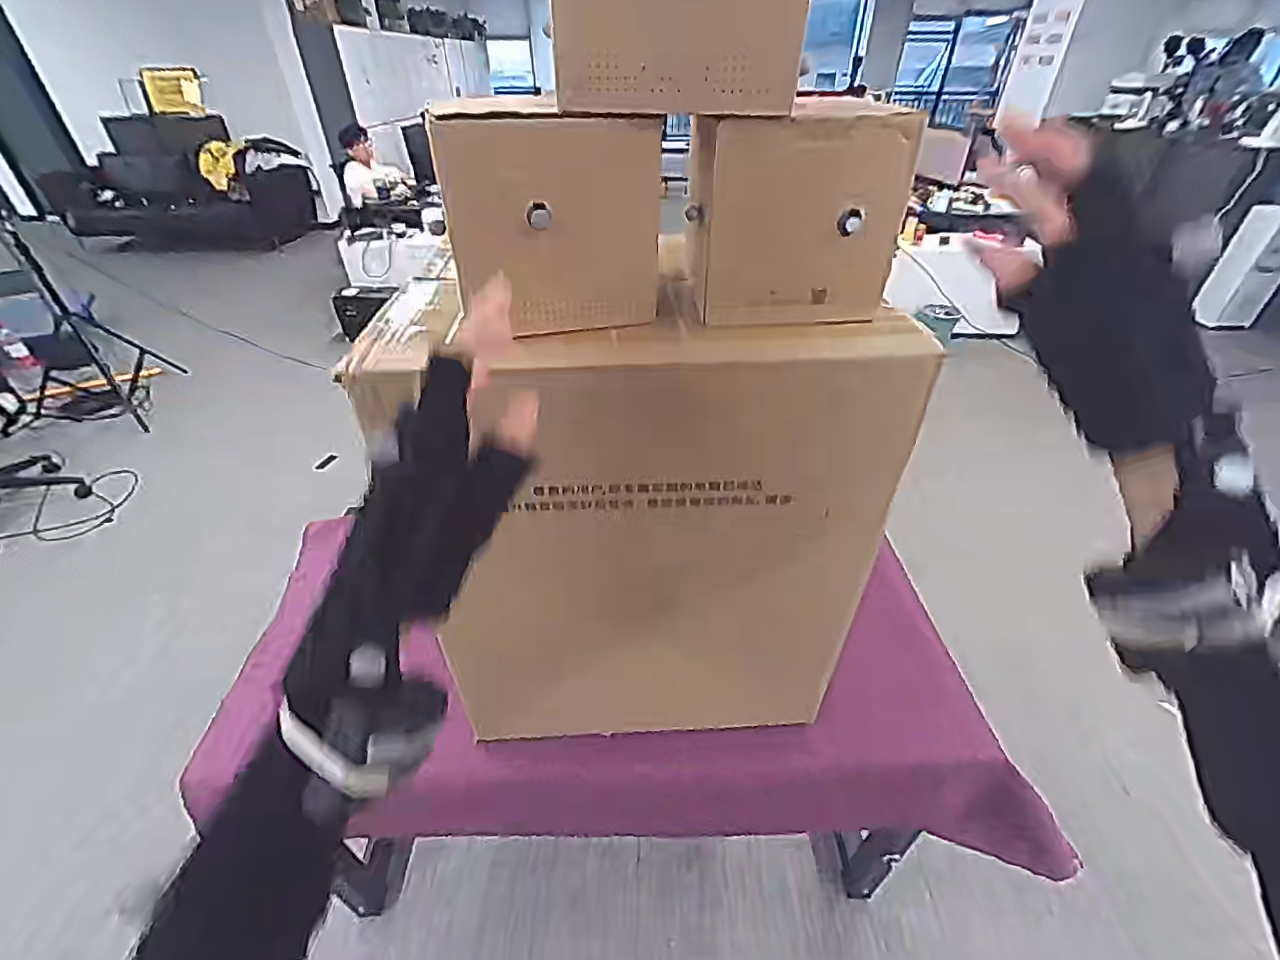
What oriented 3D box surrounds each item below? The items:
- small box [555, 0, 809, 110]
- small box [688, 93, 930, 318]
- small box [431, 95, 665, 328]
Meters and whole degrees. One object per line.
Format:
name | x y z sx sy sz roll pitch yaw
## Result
small box | 0.031 -0.384 0.407 0.179 0.176 0.168 0 38 0
small box | 0.139 -0.264 0.521 0.168 0.176 0.179 -1 37 -2
small box | -0.084 -0.251 0.503 0.179 0.176 0.168 -9 39 -14
